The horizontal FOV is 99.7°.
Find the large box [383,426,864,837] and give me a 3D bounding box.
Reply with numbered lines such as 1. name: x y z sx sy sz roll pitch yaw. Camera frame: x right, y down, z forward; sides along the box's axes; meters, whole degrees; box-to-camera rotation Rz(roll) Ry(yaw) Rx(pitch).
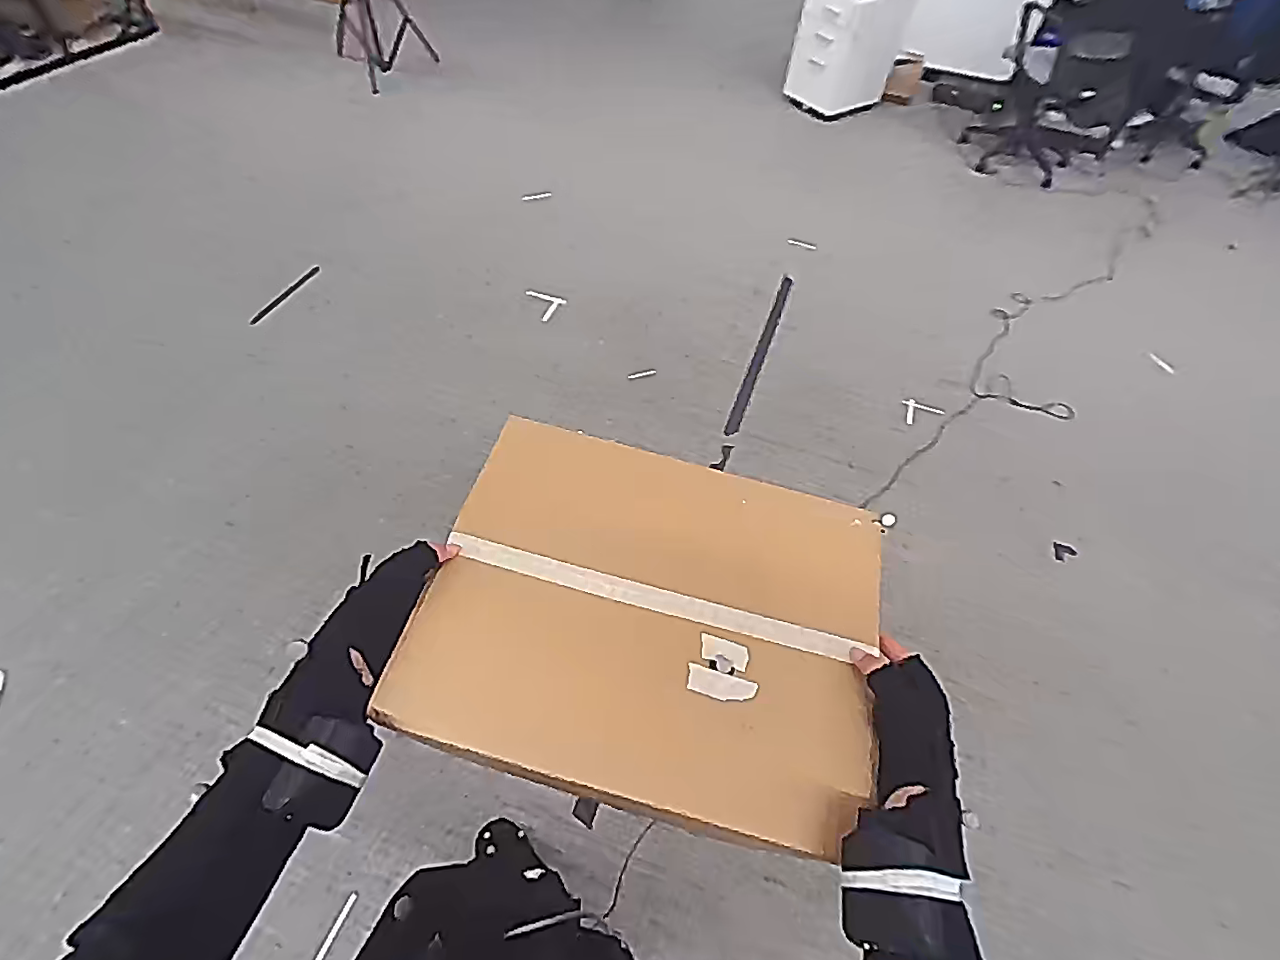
1. large box: -0.003 0.186 0.634 0.408 0.320 0.320 15 59 2
